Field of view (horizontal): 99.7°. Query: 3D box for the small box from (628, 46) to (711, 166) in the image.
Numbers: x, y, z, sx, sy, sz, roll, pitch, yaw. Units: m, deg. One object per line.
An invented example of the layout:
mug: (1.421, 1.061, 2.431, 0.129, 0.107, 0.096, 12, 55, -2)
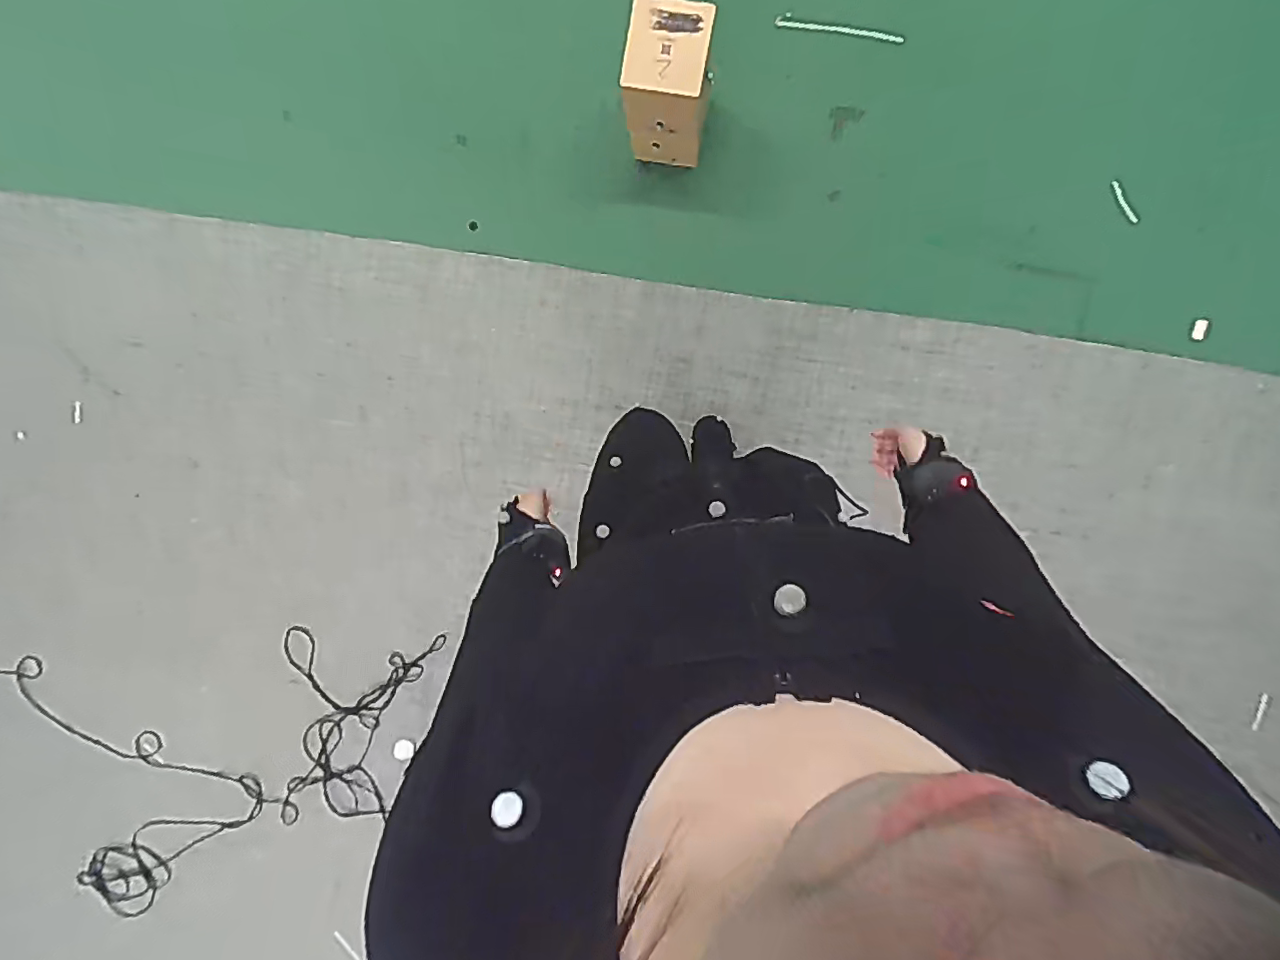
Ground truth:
small box: (0.074, -0.892, 1.308, 0.168, 0.176, 0.179, 11, 97, 4)
